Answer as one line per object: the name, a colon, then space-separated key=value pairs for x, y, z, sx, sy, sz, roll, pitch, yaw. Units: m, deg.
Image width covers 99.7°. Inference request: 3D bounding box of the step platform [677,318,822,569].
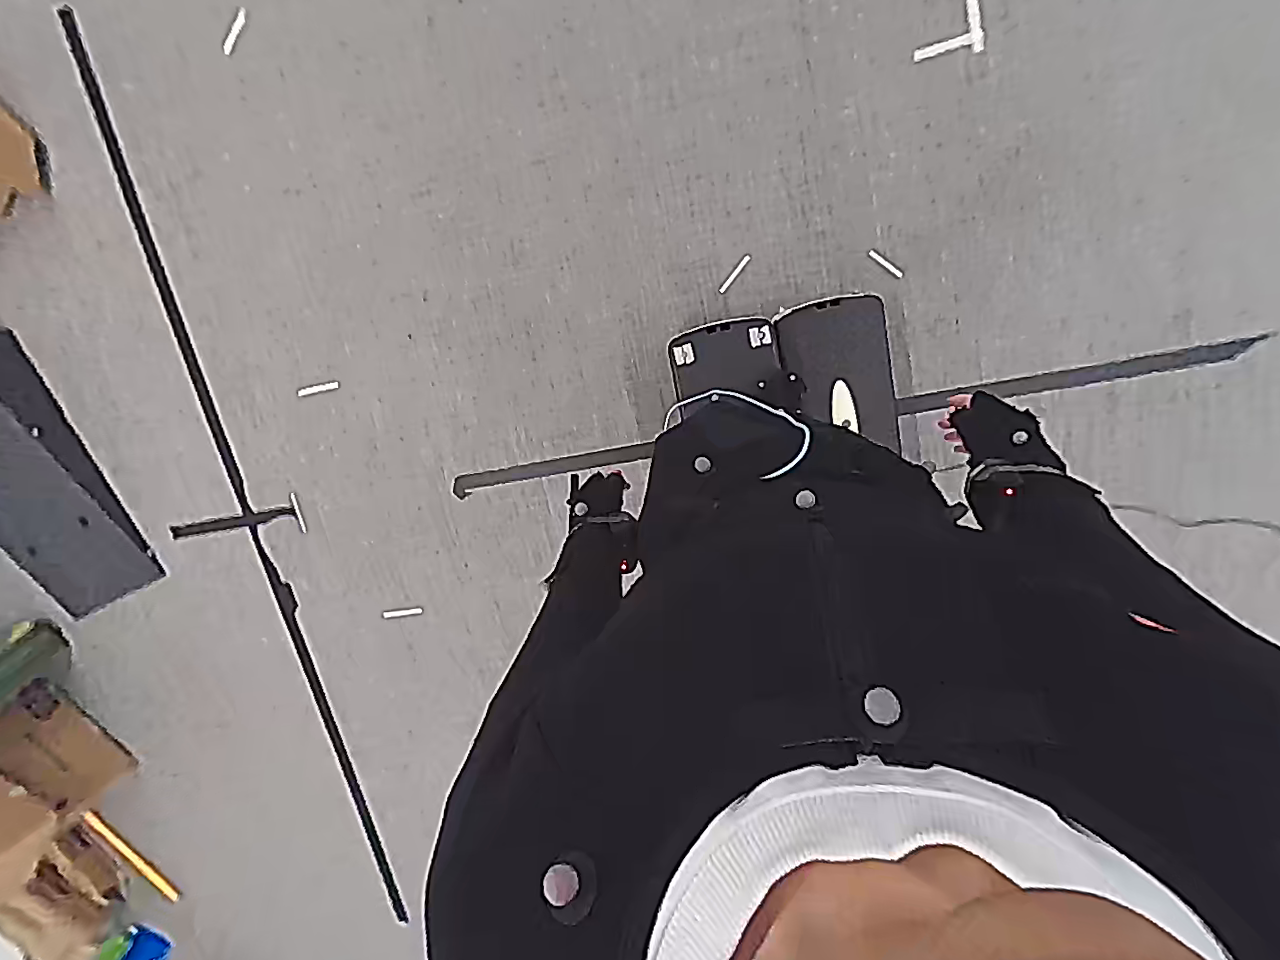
step platform: x=0.306 y=-0.093 z=1.508 sx=0.286 sy=0.204 sz=0.684 roll=-12 pitch=100 yaw=10
